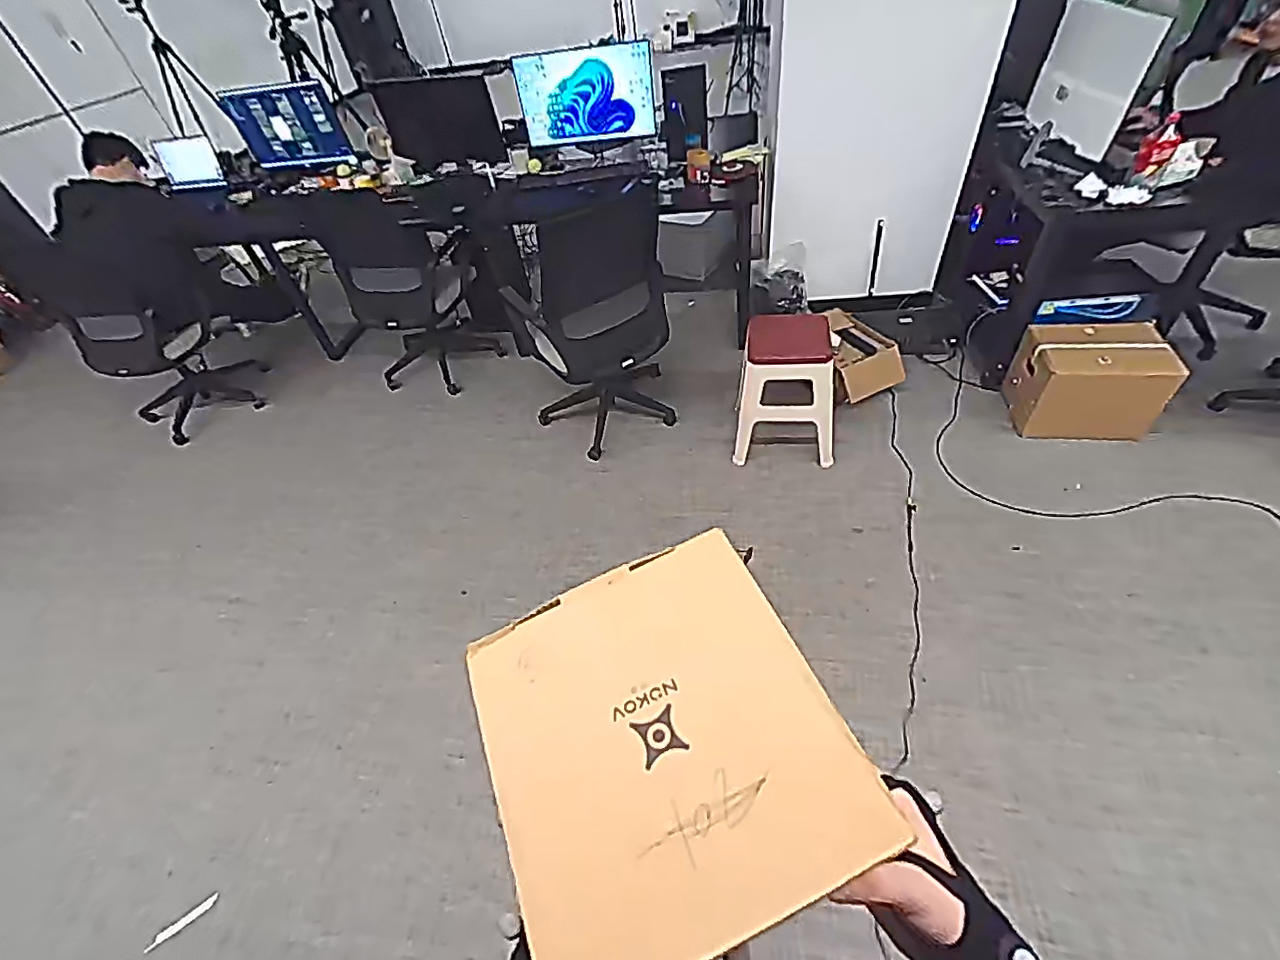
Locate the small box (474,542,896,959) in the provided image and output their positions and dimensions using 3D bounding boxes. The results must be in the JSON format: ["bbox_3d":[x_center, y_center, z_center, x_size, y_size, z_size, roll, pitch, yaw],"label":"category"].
[{"bbox_3d":[0.019,0.176,0.341,0.168,0.176,0.179,-24,54,-6],"label":"small box"}]
